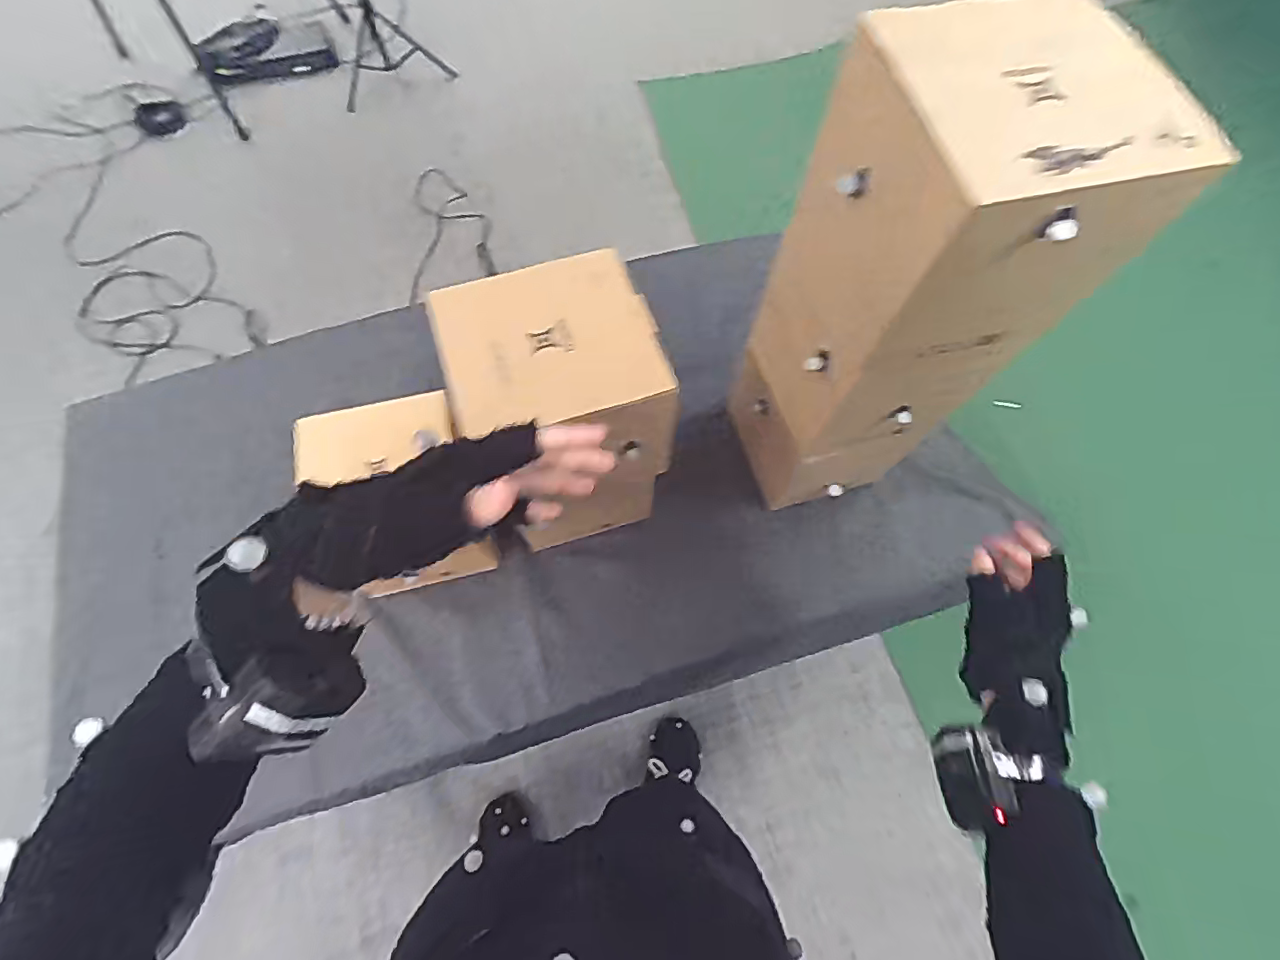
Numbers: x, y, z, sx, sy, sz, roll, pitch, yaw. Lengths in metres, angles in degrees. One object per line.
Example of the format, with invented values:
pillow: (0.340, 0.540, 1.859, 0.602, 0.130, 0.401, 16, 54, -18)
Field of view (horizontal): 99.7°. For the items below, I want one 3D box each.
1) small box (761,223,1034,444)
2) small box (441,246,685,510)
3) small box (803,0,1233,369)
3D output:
small box: (0.243, -0.151, 0.561, 0.168, 0.176, 0.179, -13, 68, -6)
small box: (-0.071, -0.091, 0.534, 0.179, 0.176, 0.168, -18, 68, -8)
small box: (0.243, -0.212, 0.409, 0.168, 0.176, 0.179, -12, 68, -5)
